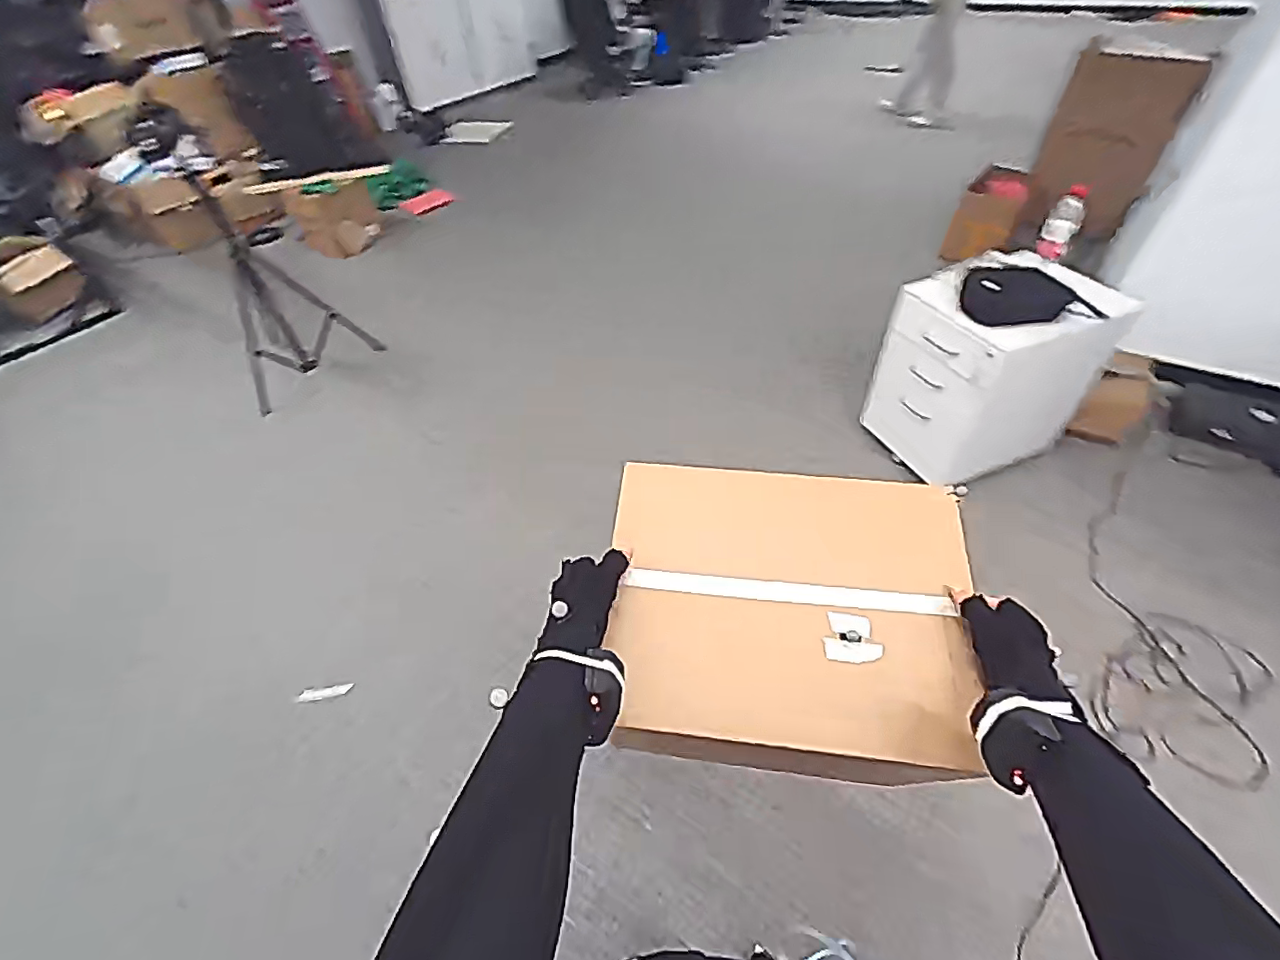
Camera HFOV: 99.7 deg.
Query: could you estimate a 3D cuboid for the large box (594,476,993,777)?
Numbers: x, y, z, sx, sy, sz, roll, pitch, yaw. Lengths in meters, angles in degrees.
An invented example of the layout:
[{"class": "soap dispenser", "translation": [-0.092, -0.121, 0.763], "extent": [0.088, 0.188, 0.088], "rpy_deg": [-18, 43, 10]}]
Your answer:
[{"class": "large box", "translation": [0.166, 0.211, 0.743], "extent": [0.408, 0.320, 0.320], "rpy_deg": [3, 59, 5]}]
